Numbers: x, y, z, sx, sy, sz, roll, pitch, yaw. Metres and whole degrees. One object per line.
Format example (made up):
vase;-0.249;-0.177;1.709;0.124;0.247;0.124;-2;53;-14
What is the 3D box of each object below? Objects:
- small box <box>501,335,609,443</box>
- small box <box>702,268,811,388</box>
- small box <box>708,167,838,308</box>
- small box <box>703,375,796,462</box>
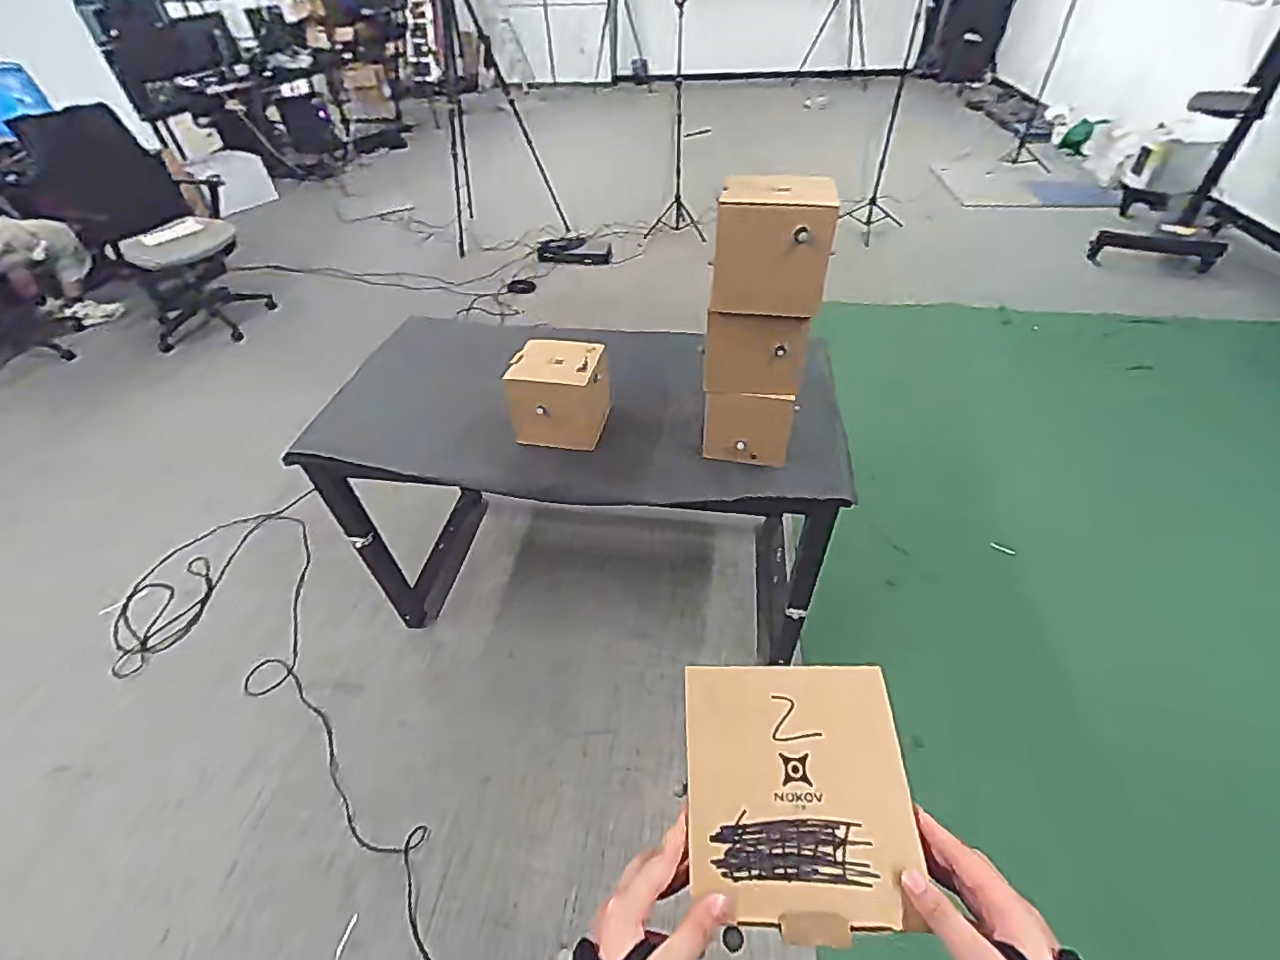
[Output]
small box;-0.174;-0.196;1.170;0.179;0.176;0.168;6;44;10
small box;0.207;-0.283;1.001;0.179;0.176;0.168;2;41;8
small box;0.210;-0.390;0.873;0.179;0.176;0.168;6;42;11
small box;0.224;-0.163;1.109;0.168;0.176;0.179;8;44;13
